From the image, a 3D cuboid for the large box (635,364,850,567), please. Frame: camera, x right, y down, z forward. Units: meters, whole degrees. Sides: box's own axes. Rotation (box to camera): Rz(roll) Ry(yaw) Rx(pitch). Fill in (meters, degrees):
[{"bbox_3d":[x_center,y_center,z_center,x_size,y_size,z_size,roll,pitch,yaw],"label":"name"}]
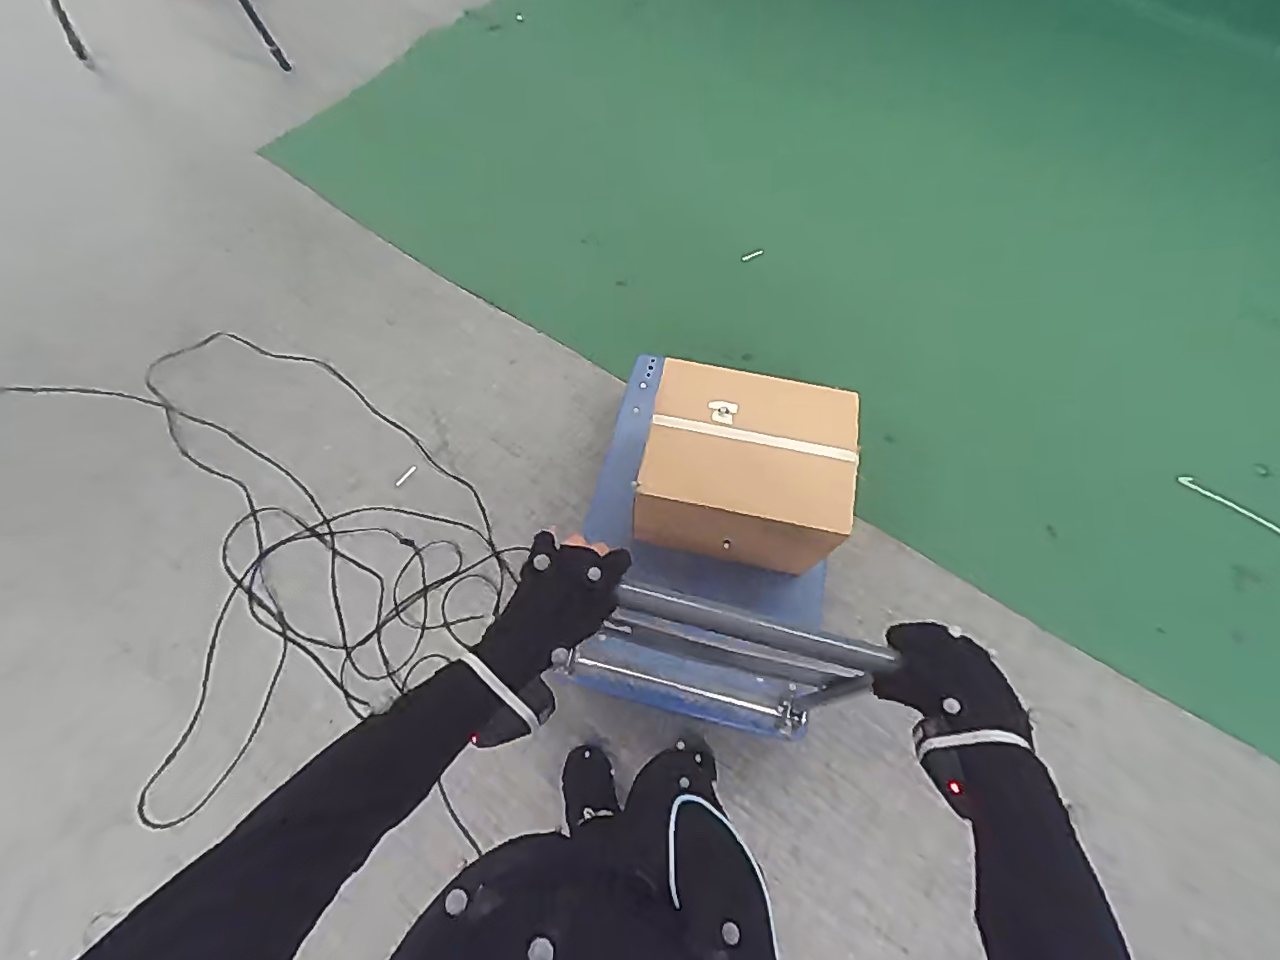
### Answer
[{"bbox_3d":[0.213,-0.017,1.206,0.408,0.320,0.320,11,66,4],"label":"large box"}]
